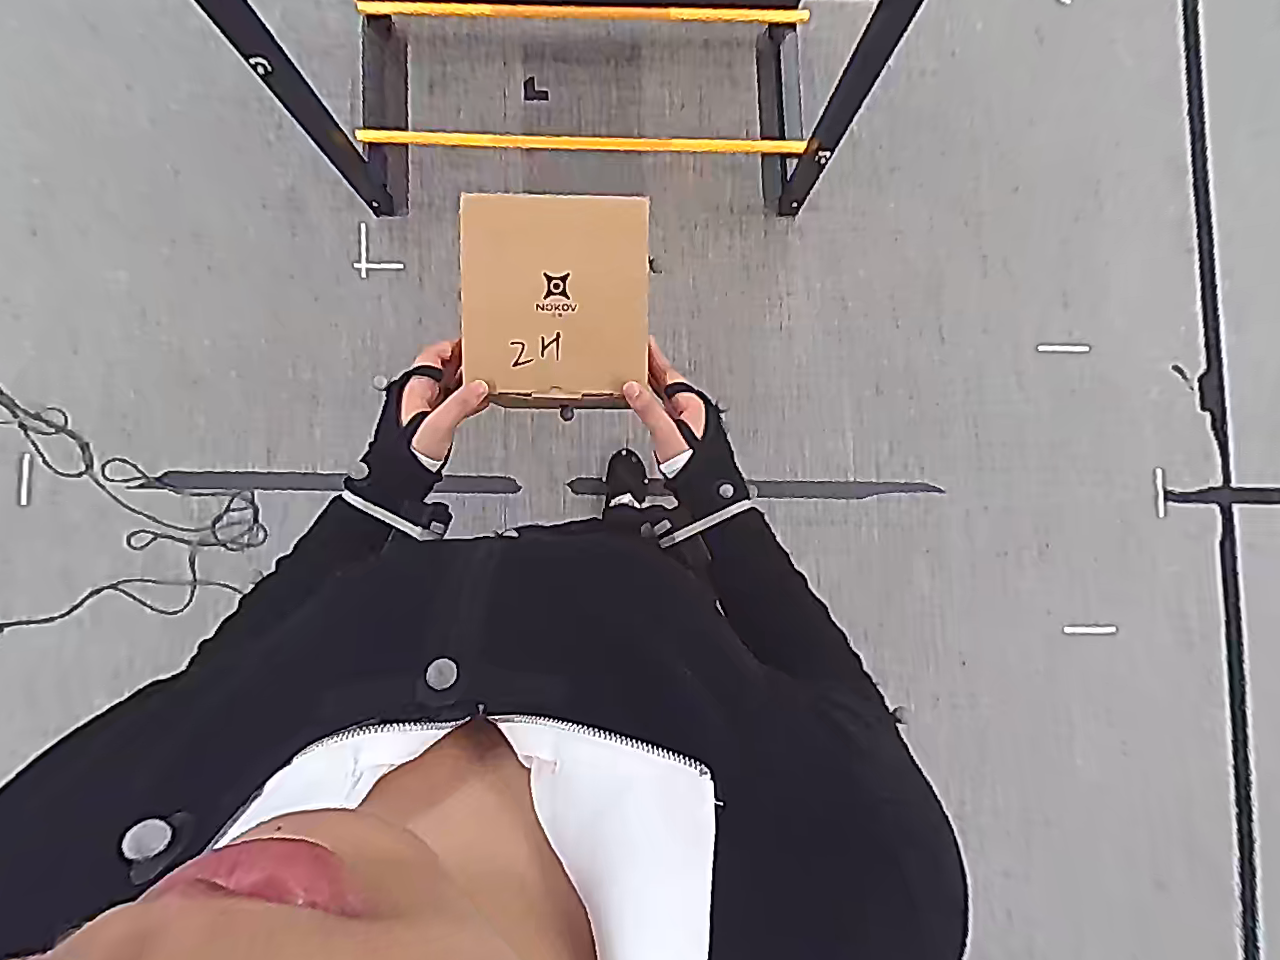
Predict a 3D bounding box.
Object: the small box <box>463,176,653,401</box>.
[{"bbox_3d":[-0.075,-0.178,0.551,0.168,0.176,0.179,0,93,-2],"label":"small box"}]
